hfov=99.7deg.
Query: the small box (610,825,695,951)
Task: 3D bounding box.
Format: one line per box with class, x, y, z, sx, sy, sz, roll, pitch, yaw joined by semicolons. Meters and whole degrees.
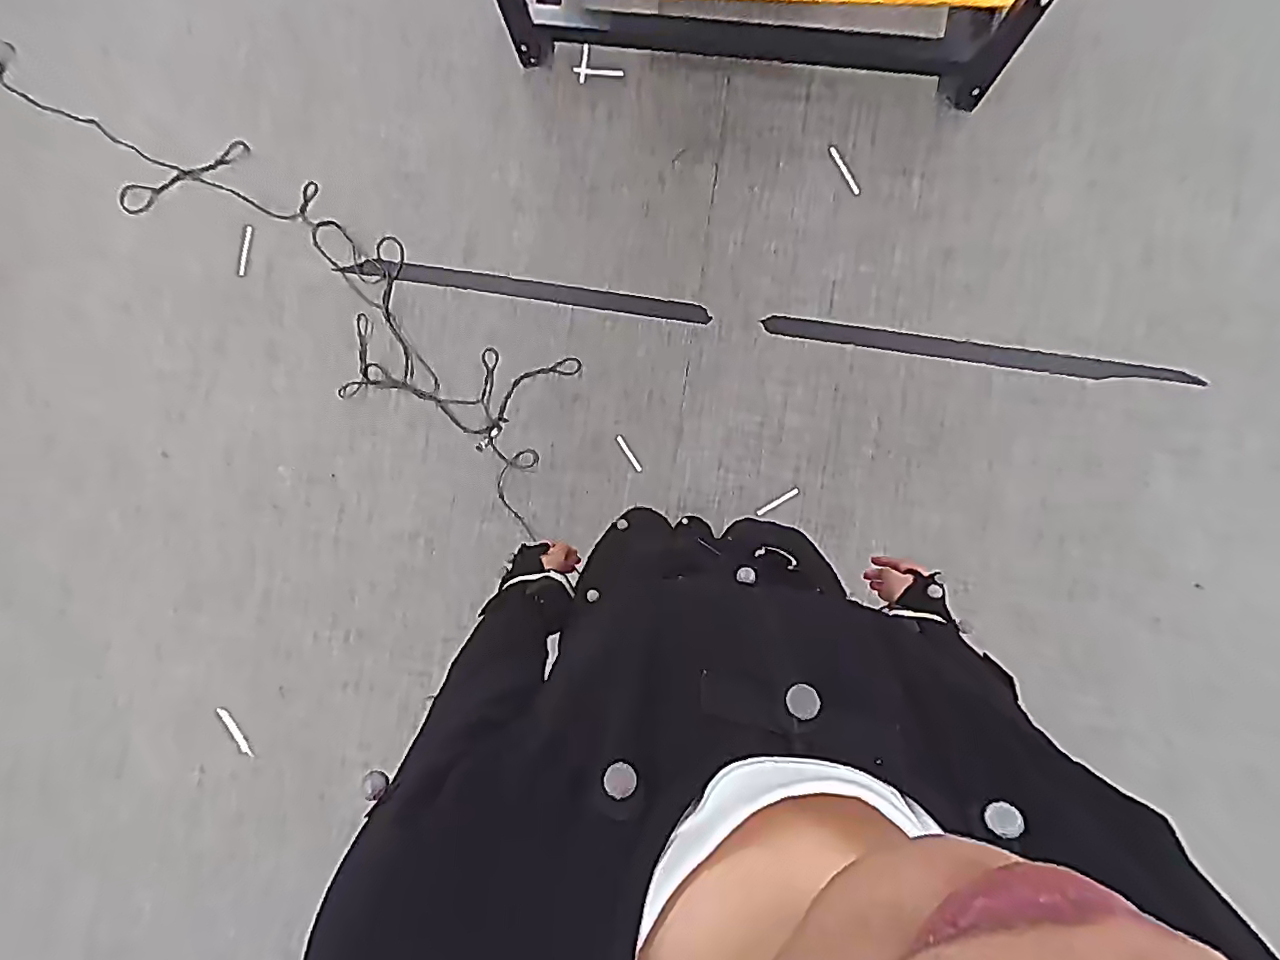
small box;0.034;0.972;1.306;0.179;0.176;0.168;7;89;4
